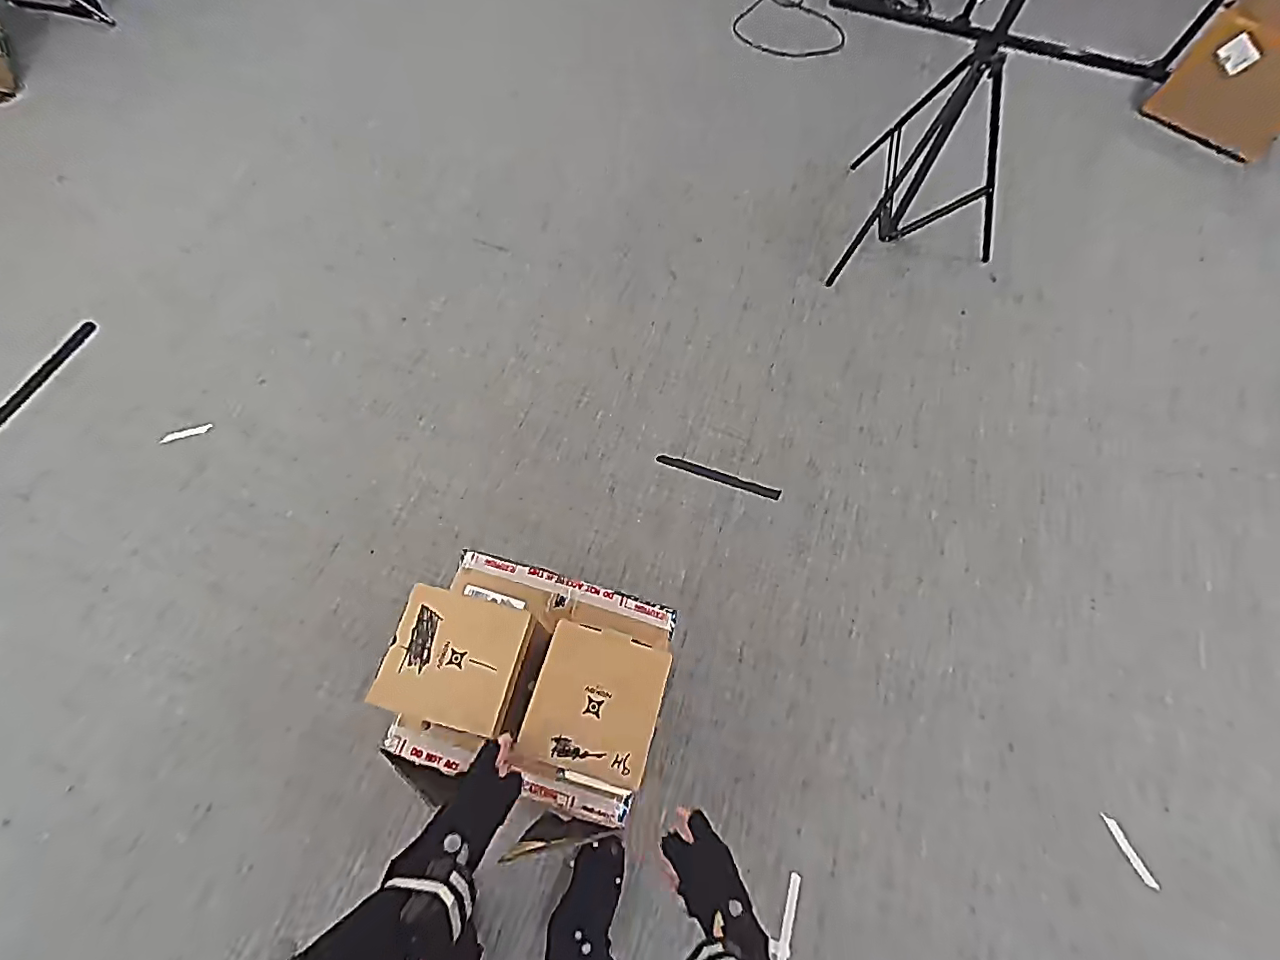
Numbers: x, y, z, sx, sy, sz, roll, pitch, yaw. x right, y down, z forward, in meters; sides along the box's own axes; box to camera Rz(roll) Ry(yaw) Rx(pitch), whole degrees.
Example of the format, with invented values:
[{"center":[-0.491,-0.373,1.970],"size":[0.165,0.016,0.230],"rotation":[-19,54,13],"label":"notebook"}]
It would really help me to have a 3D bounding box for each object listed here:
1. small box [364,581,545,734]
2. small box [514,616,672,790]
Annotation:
[{"center":[-0.254,0.265,0.790],"size":[0.179,0.176,0.168],"rotation":[13,66,5],"label":"small box"},{"center":[-0.063,0.316,0.775],"size":[0.168,0.176,0.179],"rotation":[16,66,4],"label":"small box"}]
